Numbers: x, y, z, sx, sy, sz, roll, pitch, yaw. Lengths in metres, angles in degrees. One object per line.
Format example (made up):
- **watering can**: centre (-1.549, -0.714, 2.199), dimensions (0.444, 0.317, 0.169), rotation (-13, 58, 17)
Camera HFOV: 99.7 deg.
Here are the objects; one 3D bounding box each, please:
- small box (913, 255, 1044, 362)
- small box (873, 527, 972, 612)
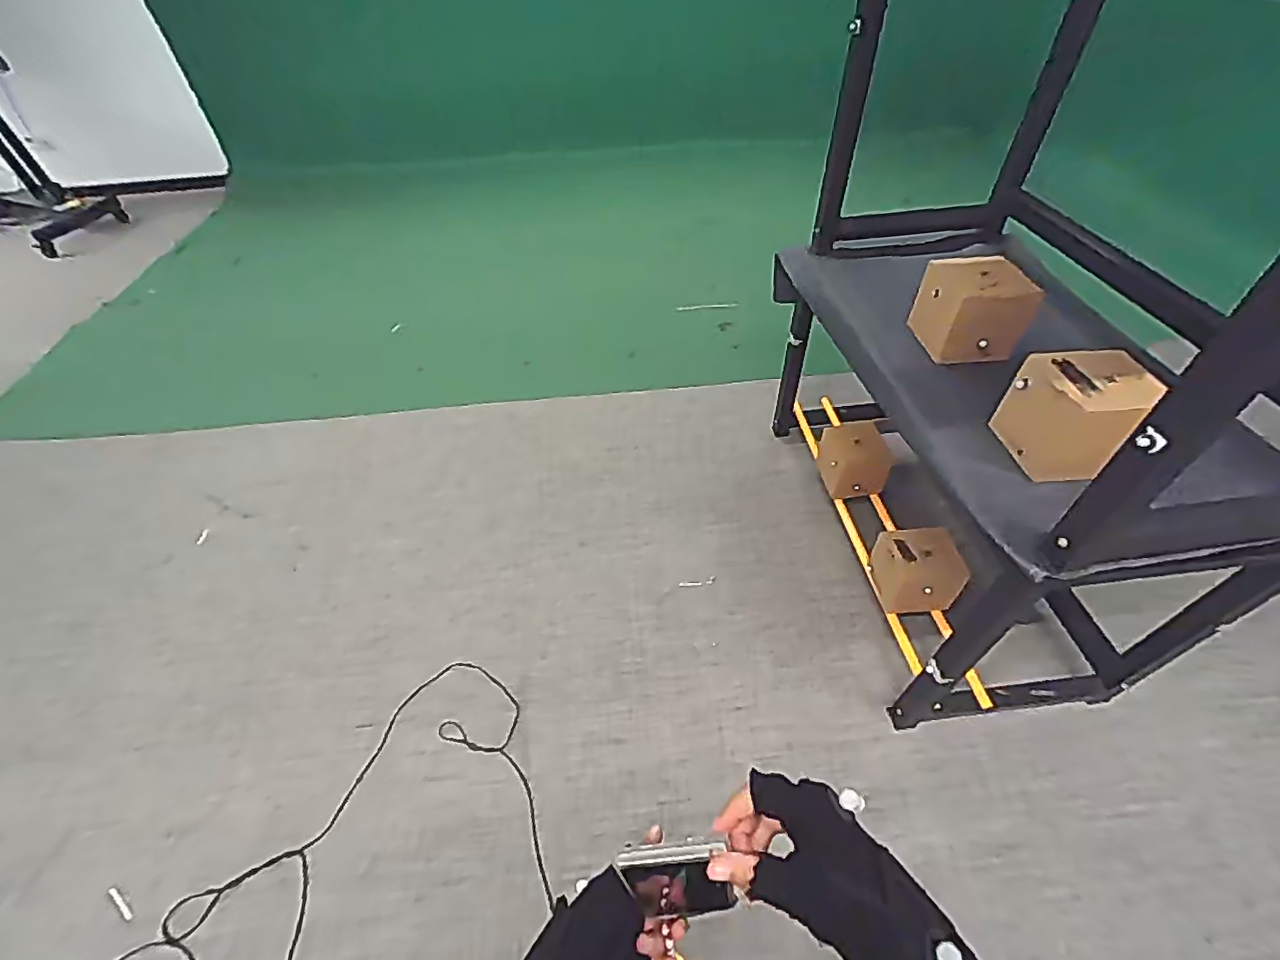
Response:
- **small box**: centre (0.750, -0.388, 1.225), dimensions (0.168, 0.176, 0.179), rotation (-4, 47, 0)
- **small box**: centre (0.759, 0.249, 1.483), dimensions (0.179, 0.176, 0.168), rotation (-4, 47, 0)
